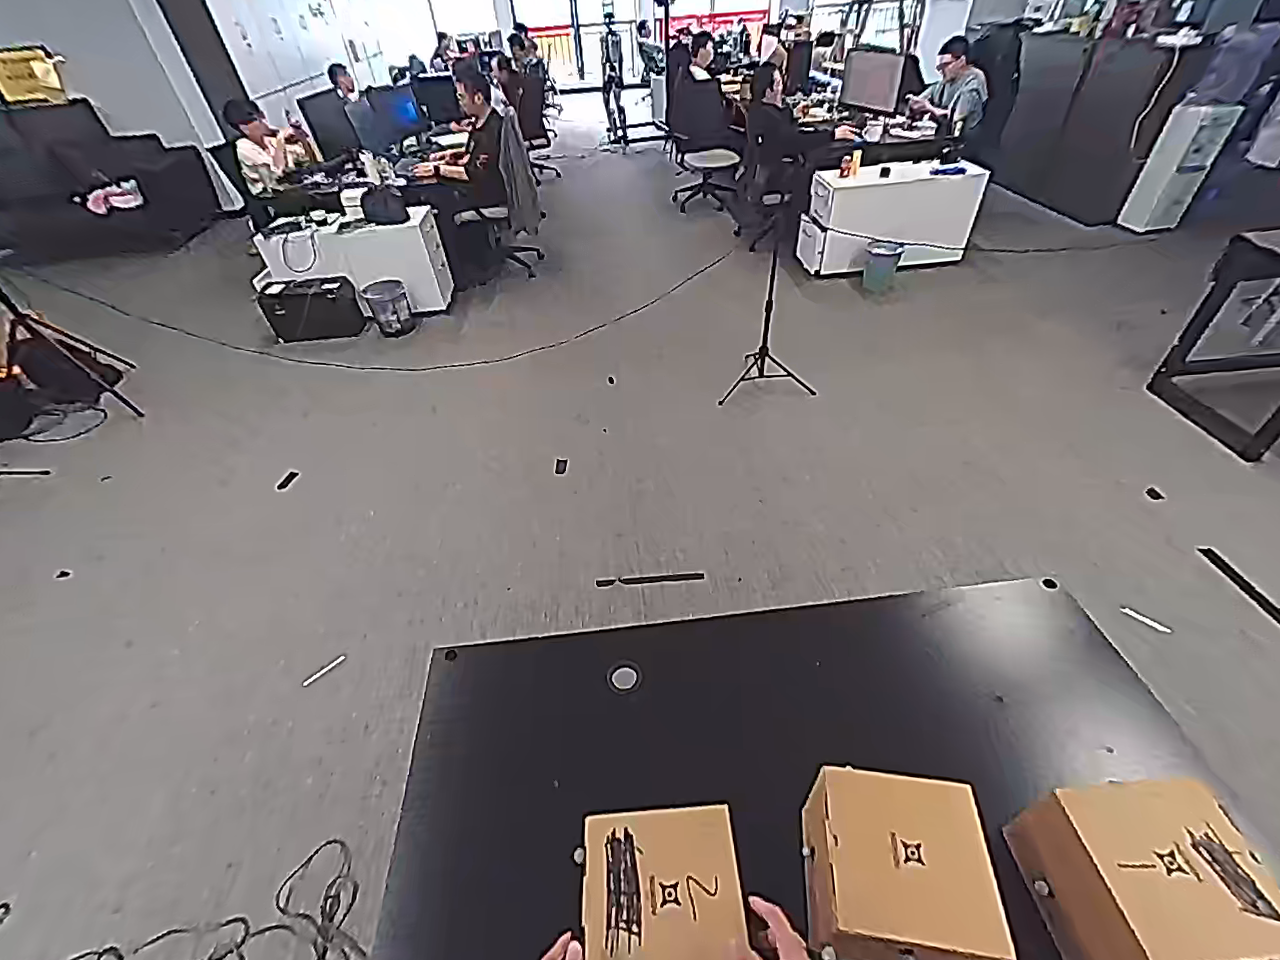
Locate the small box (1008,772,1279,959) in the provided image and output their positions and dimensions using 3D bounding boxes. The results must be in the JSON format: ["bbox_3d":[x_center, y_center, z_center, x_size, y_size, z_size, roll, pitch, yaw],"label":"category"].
[{"bbox_3d":[0.585,0.465,0.633,0.179,0.176,0.168,-6,42,1],"label":"small box"}]

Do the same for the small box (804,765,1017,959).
[{"bbox_3d":[0.306,0.473,0.657,0.179,0.176,0.168,2,42,9],"label":"small box"}]
